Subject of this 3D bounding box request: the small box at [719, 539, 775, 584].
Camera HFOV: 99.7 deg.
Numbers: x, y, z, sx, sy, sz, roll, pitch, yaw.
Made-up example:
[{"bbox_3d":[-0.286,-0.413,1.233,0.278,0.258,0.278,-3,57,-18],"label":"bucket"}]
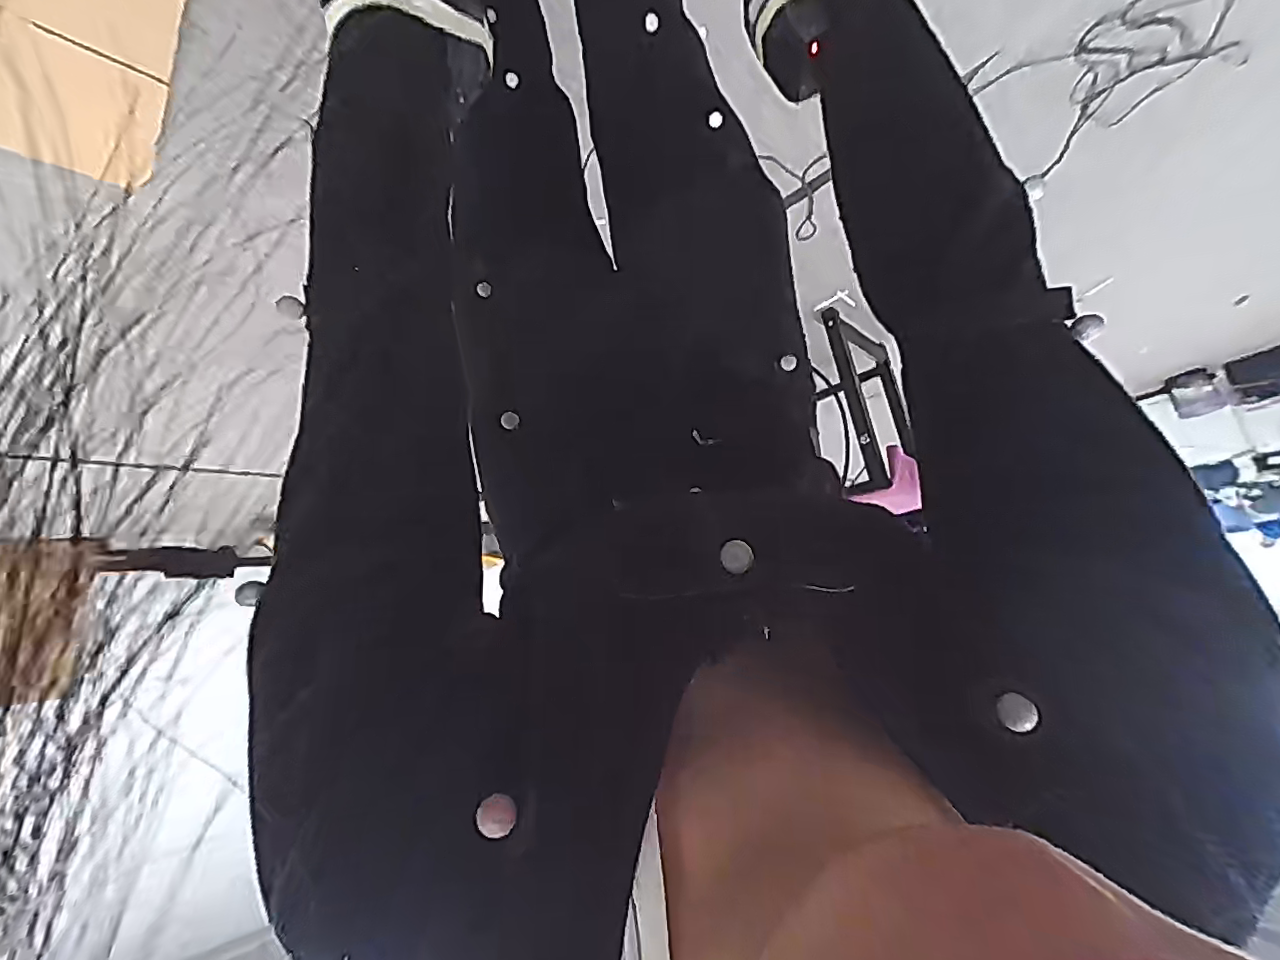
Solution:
[{"bbox_3d":[0.474,0.359,2.406,0.179,0.176,0.168,-21,161,37],"label":"small box"}]
